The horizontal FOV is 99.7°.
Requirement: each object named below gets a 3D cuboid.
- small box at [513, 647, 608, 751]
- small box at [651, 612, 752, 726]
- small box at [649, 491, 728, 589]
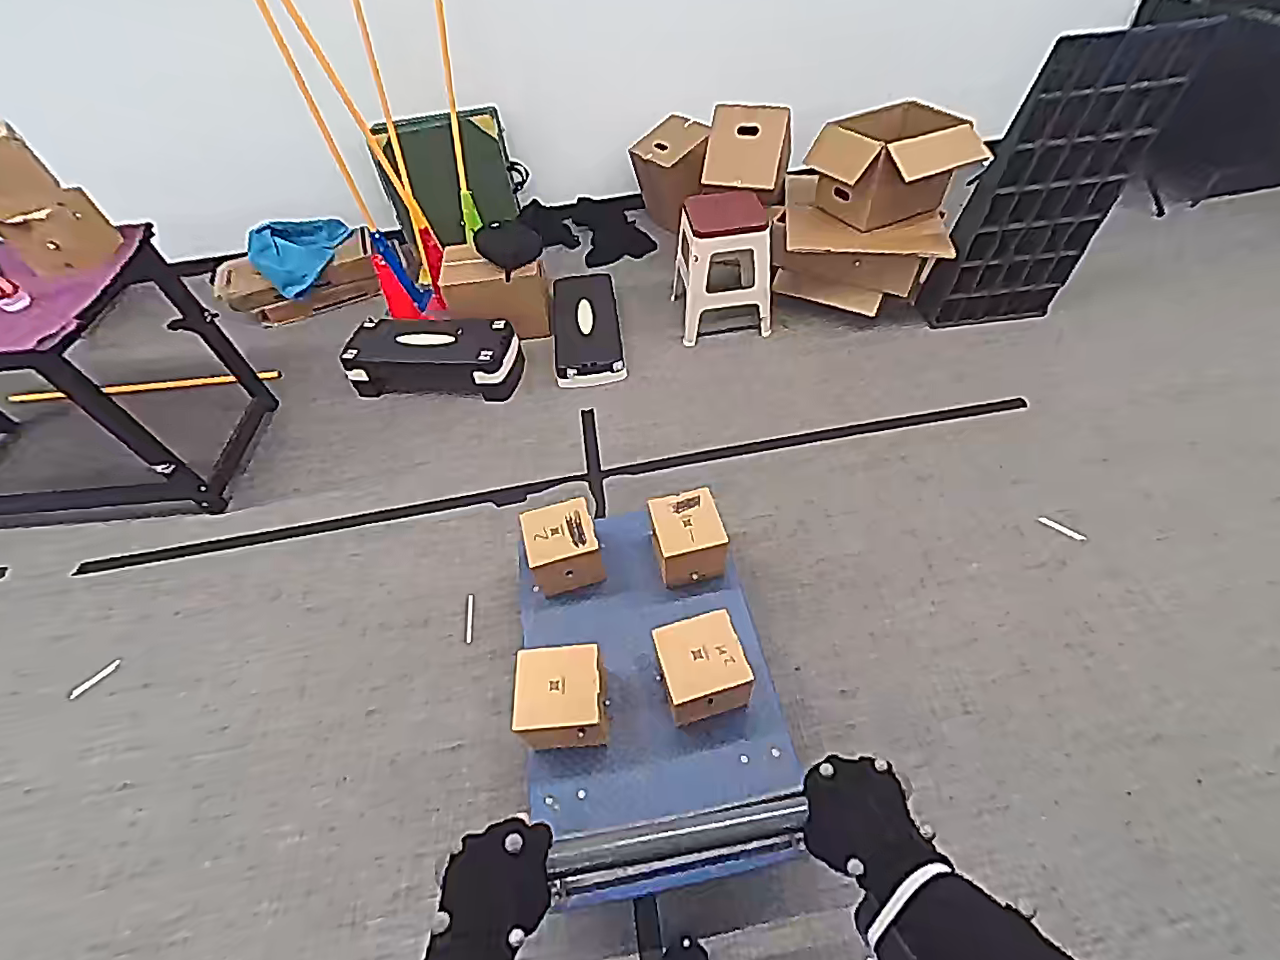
[{"bbox_3d":[-0.167,0.482,1.184,0.179,0.176,0.168,-5,52,-1],"label":"small box"},{"bbox_3d":[0.134,0.424,1.201,0.179,0.176,0.168,-15,52,-6],"label":"small box"},{"bbox_3d":[0.121,0.159,1.411,0.168,0.176,0.179,-13,53,-5],"label":"small box"}]
